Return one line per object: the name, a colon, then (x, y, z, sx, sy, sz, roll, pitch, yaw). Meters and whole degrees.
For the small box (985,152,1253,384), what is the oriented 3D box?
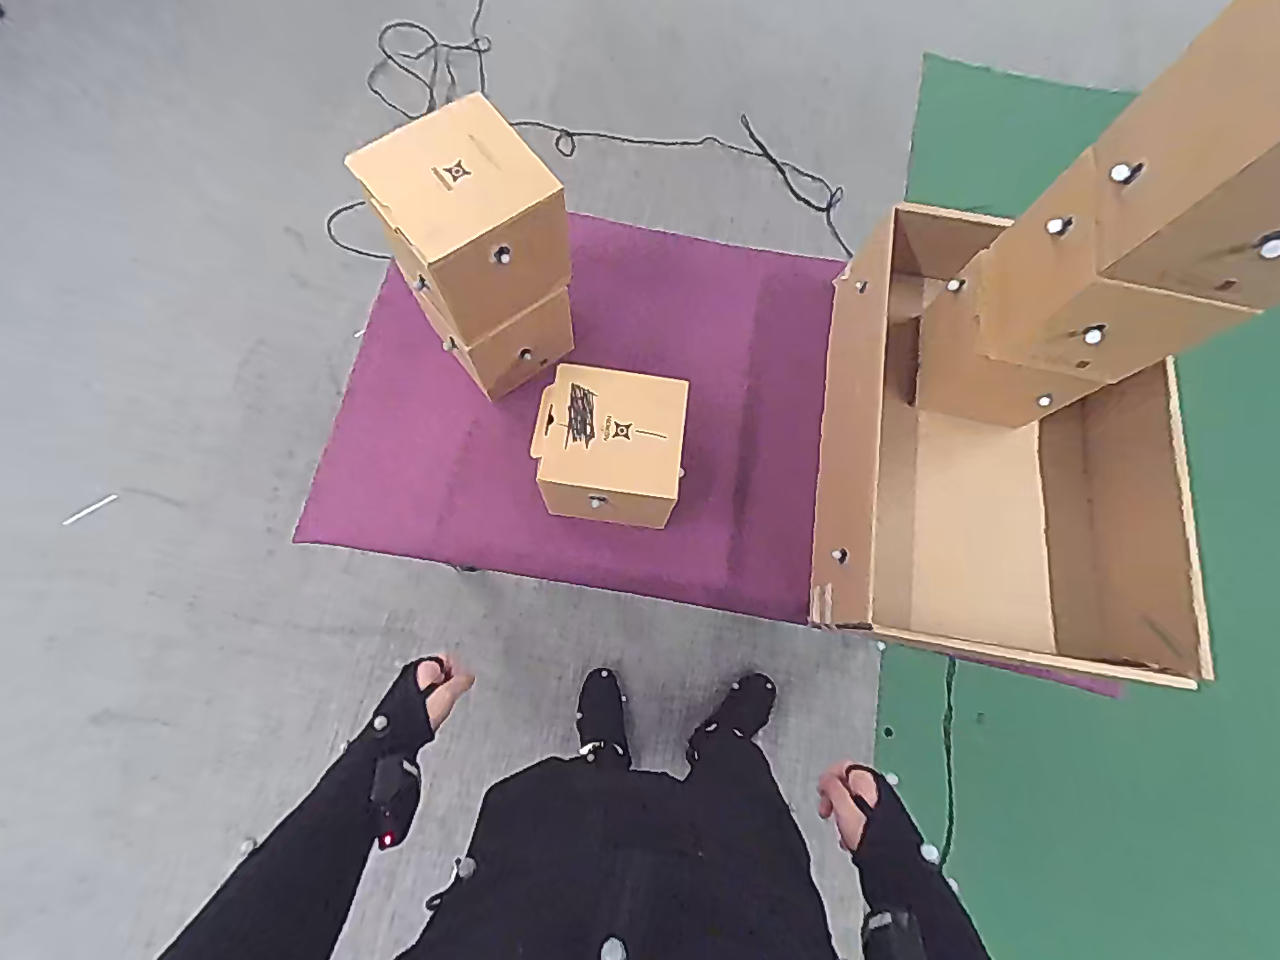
small box: (0.536, -0.233, 0.631, 0.168, 0.176, 0.179, 12, 74, 1)

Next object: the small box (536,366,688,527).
small box: (-0.037, -0.038, 0.760, 0.179, 0.176, 0.168, 8, 72, -2)

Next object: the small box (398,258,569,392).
small box: (-0.220, -0.256, 0.813, 0.168, 0.176, 0.179, -36, 79, -14)

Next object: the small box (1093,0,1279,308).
small box: (0.544, -0.279, 0.474, 0.168, 0.176, 0.179, 12, 75, 1)

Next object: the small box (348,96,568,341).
small box: (-0.203, -0.304, 0.659, 0.179, 0.176, 0.168, -36, 81, -13)
